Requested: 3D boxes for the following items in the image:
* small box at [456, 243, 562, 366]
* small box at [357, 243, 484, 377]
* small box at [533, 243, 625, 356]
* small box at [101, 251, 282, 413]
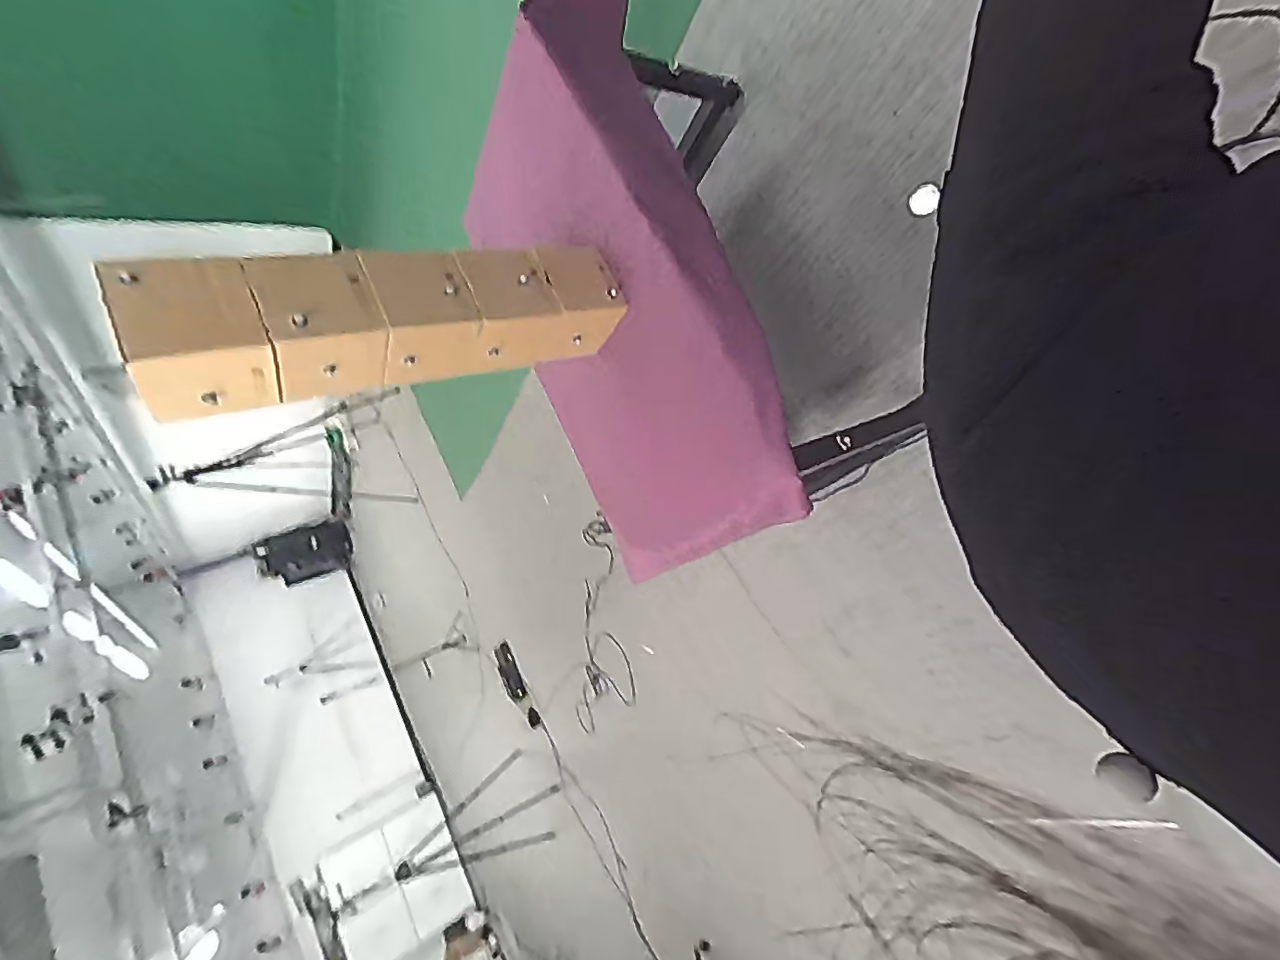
[{"bbox_3d":[-0.283,-0.356,1.105,0.179,0.176,0.168,-41,72,51],"label":"small box"},{"bbox_3d":[-0.411,-0.315,1.012,0.179,0.176,0.168,-41,72,51],"label":"small box"},{"bbox_3d":[-0.154,-0.400,1.197,0.179,0.176,0.168,-41,71,52],"label":"small box"},{"bbox_3d":[-0.663,-0.229,0.824,0.168,0.176,0.179,-43,70,52],"label":"small box"}]
